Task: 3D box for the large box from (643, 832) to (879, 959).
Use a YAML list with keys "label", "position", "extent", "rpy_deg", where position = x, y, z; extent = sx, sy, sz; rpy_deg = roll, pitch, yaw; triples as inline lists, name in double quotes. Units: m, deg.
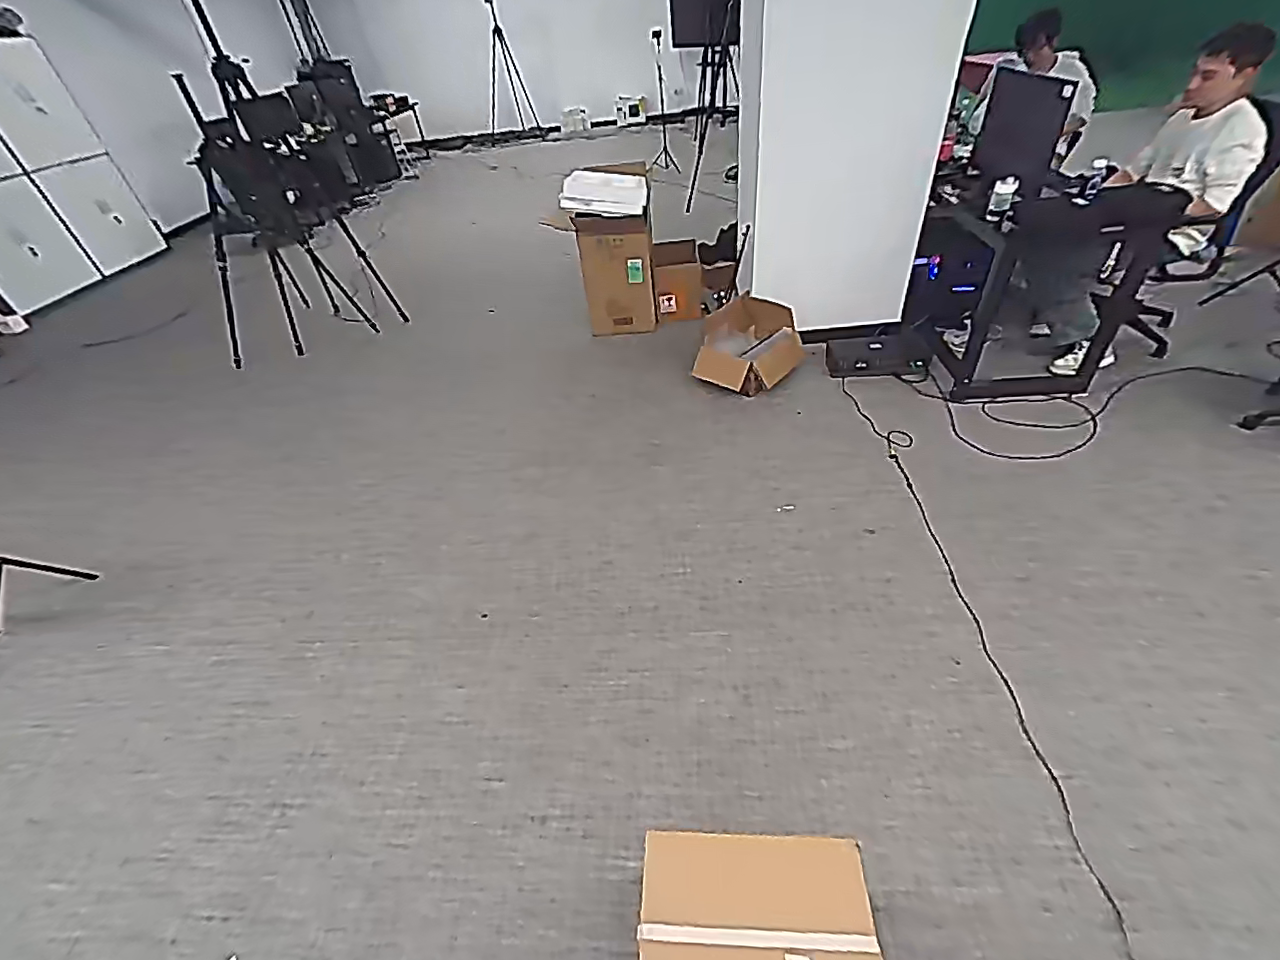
- label: "large box"
  position: [0.215, 0.904, 1.033]
  extent: [0.408, 0.320, 0.320]
  rpy_deg: [-2, 41, 6]
